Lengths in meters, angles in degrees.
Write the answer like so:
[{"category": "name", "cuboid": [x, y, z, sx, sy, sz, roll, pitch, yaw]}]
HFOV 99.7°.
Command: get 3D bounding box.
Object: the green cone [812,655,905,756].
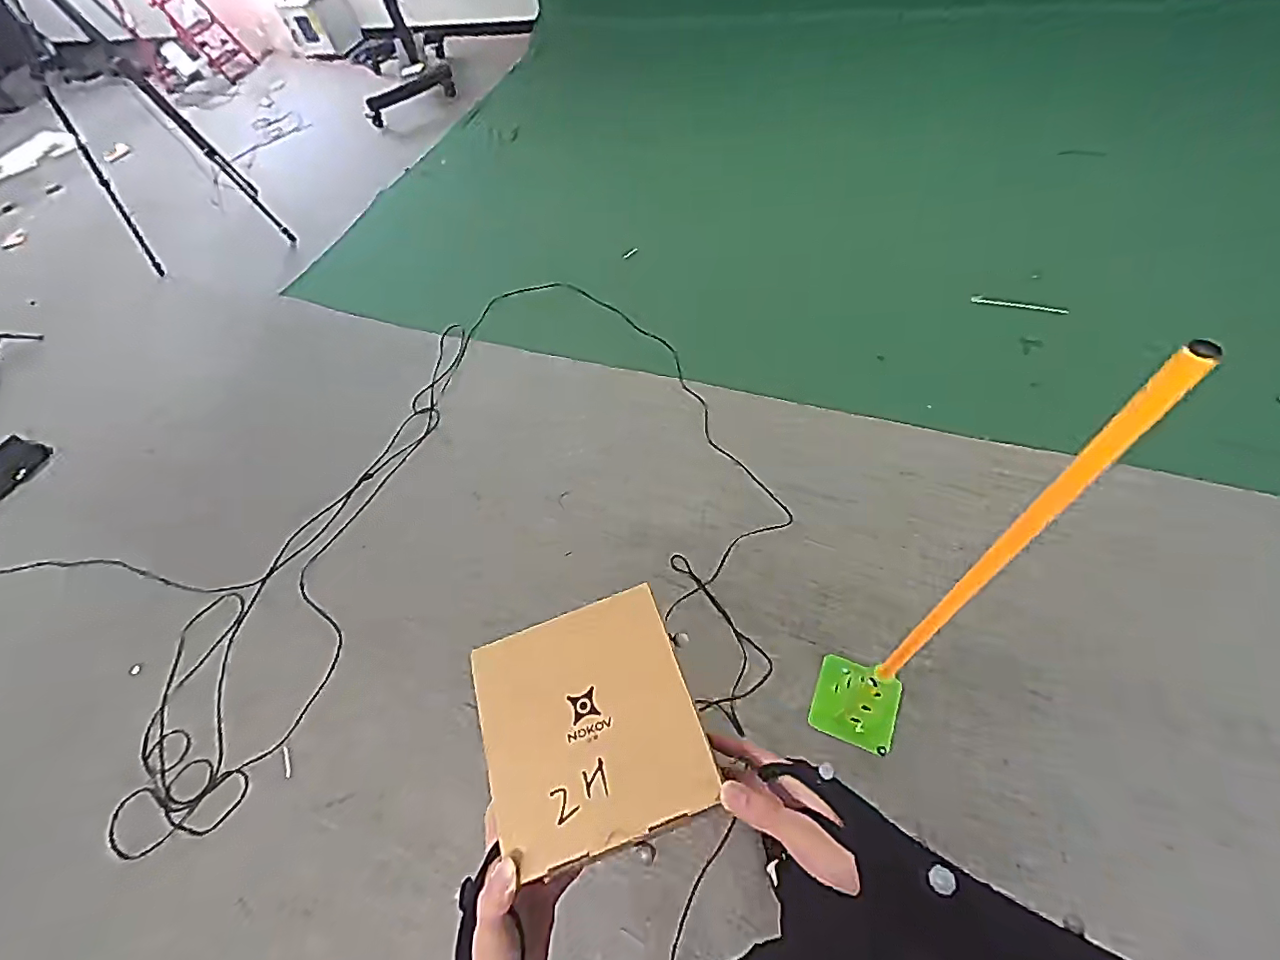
[{"category": "green cone", "cuboid": [0.529, 0.478, 1.240, 0.202, 0.368, 0.200, 16, 62, 21]}]
